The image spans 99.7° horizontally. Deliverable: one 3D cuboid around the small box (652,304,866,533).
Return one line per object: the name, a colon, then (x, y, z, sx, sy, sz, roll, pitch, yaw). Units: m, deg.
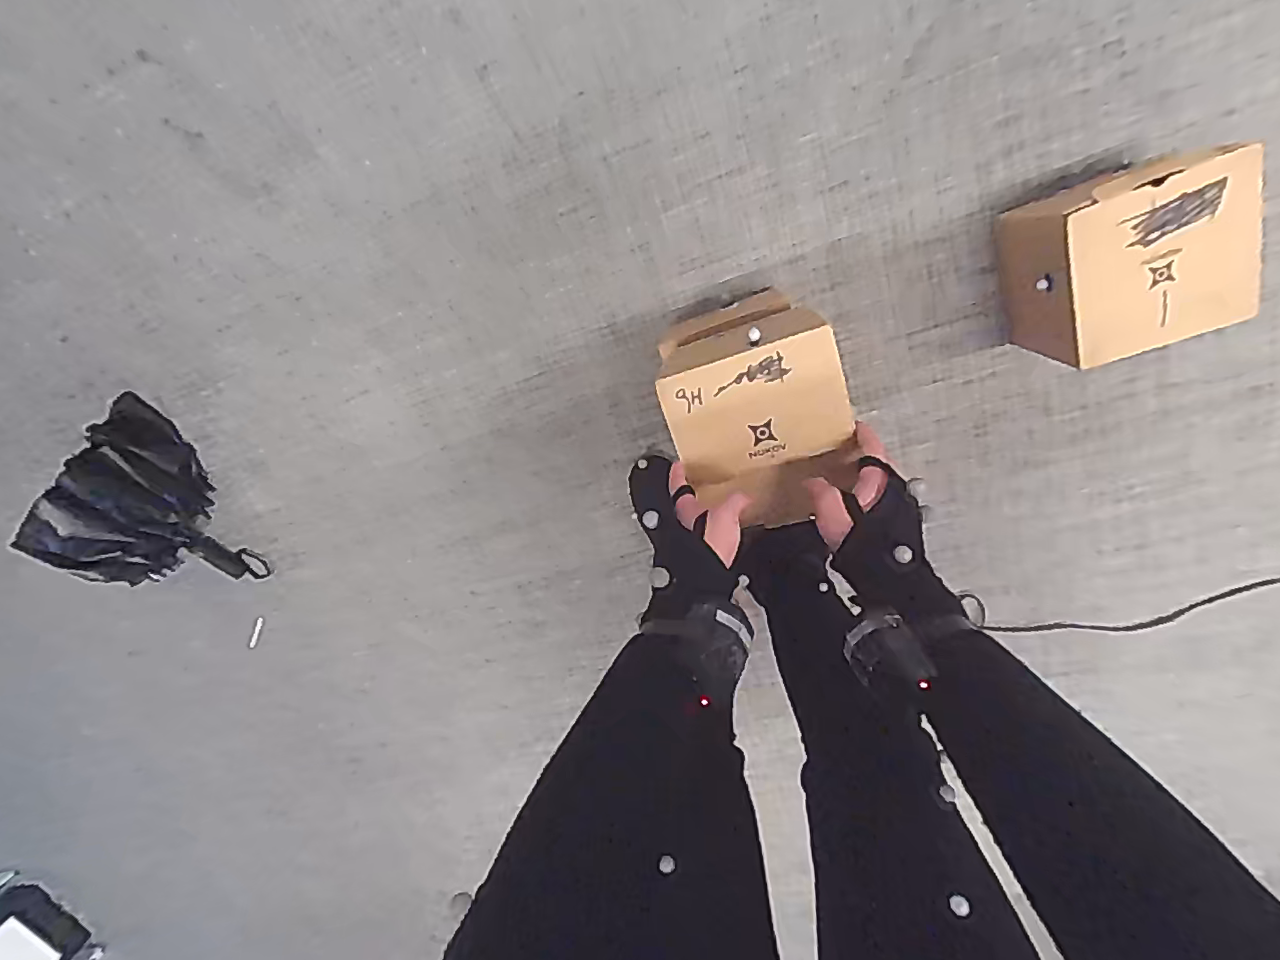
small box: (0.127, -0.071, 0.582, 0.168, 0.176, 0.179, -16, 110, 16)

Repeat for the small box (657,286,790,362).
small box: (0.136, -0.150, 0.742, 0.168, 0.176, 0.179, -18, 110, 15)

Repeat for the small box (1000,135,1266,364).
small box: (0.547, -0.257, 0.623, 0.168, 0.176, 0.179, -18, 111, 17)
